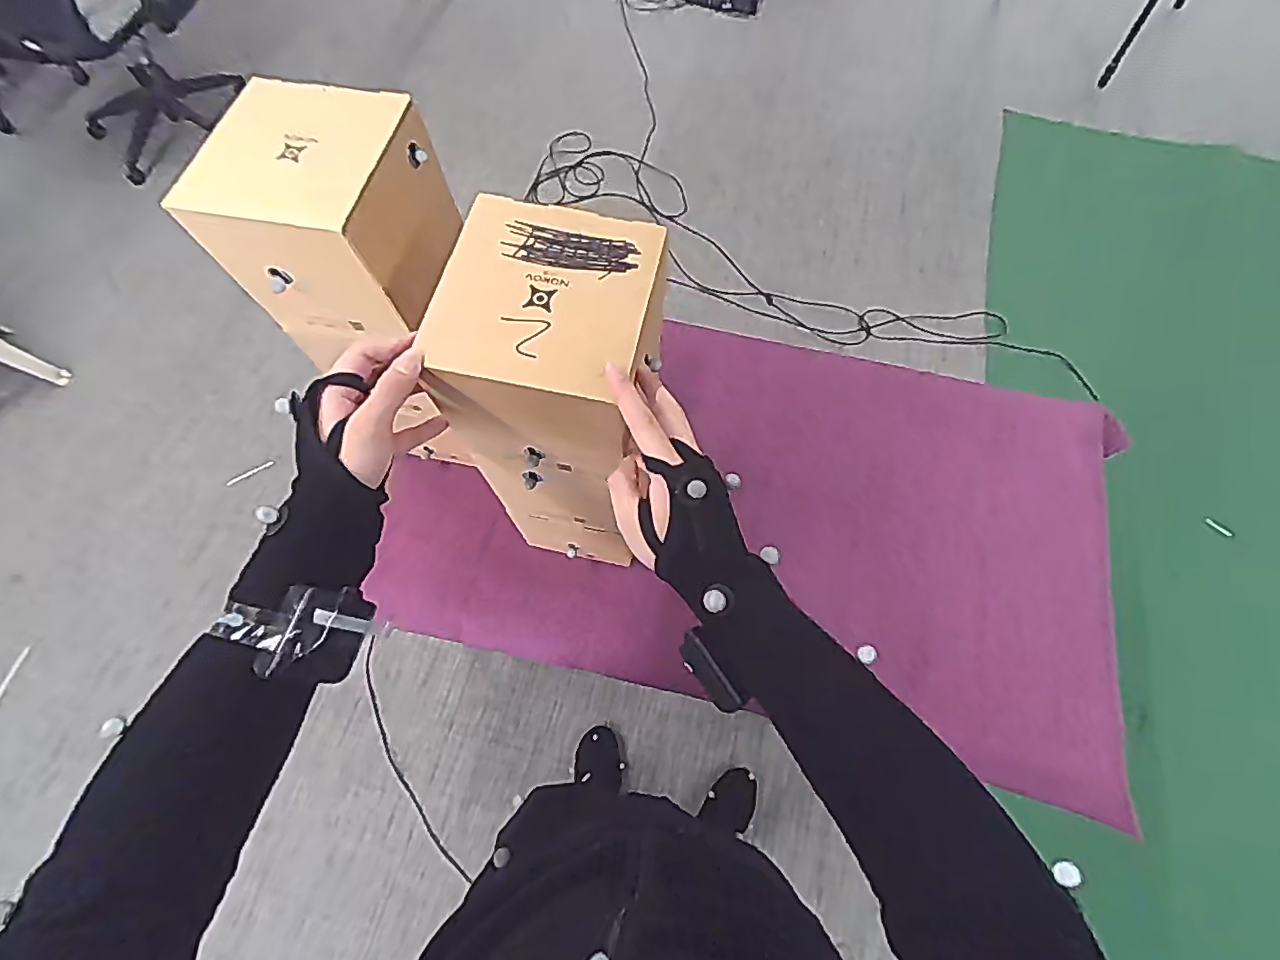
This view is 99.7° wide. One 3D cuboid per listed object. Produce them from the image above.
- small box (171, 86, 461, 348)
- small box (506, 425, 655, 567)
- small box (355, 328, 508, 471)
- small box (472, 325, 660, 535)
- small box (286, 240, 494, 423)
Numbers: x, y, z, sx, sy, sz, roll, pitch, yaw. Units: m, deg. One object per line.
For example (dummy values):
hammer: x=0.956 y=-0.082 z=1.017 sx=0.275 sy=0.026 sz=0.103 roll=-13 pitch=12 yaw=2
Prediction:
small box: x=-0.307 y=-0.262 z=0.561 sx=0.168 sy=0.176 sz=0.179 roll=10 pitch=68 yaw=5
small box: x=-0.078 y=0.012 z=0.801 sx=0.168 sy=0.176 sz=0.179 roll=12 pitch=68 yaw=5
small box: x=-0.308 y=-0.136 z=0.862 sx=0.168 sy=0.176 sz=0.179 roll=11 pitch=69 yaw=5
small box: x=-0.077 y=-0.052 z=0.651 sx=0.168 sy=0.176 sz=0.179 roll=12 pitch=68 yaw=5
small box: x=-0.307 y=-0.200 z=0.712 sx=0.168 sy=0.176 sz=0.179 roll=11 pitch=69 yaw=5
